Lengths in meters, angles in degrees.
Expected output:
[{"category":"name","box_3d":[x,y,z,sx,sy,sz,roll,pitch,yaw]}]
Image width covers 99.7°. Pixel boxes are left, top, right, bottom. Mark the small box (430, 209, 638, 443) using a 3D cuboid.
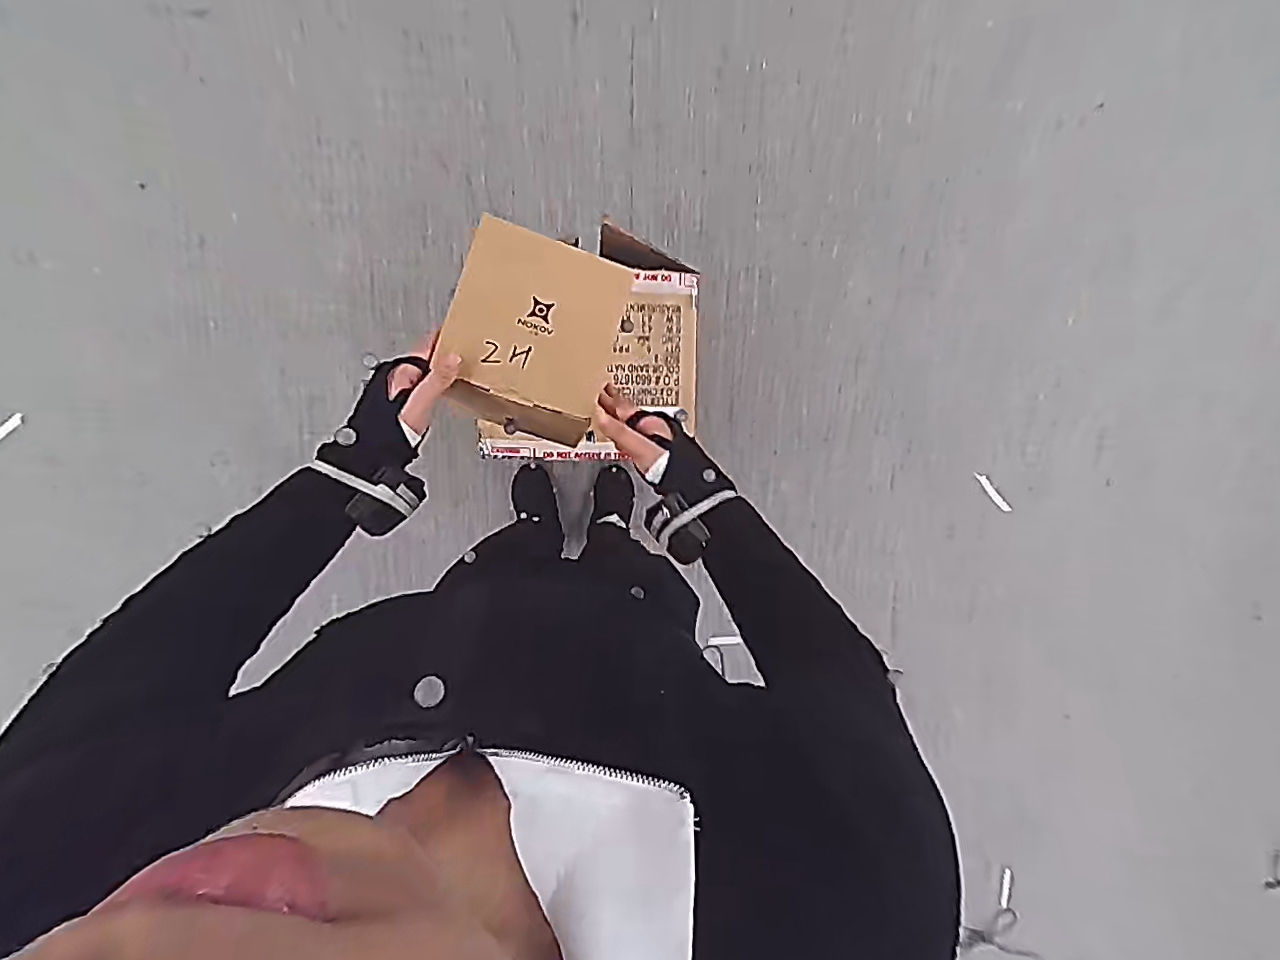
[{"category":"small box","box_3d":[-0.117,-0.156,0.611,0.168,0.176,0.179,17,82,-9]}]
